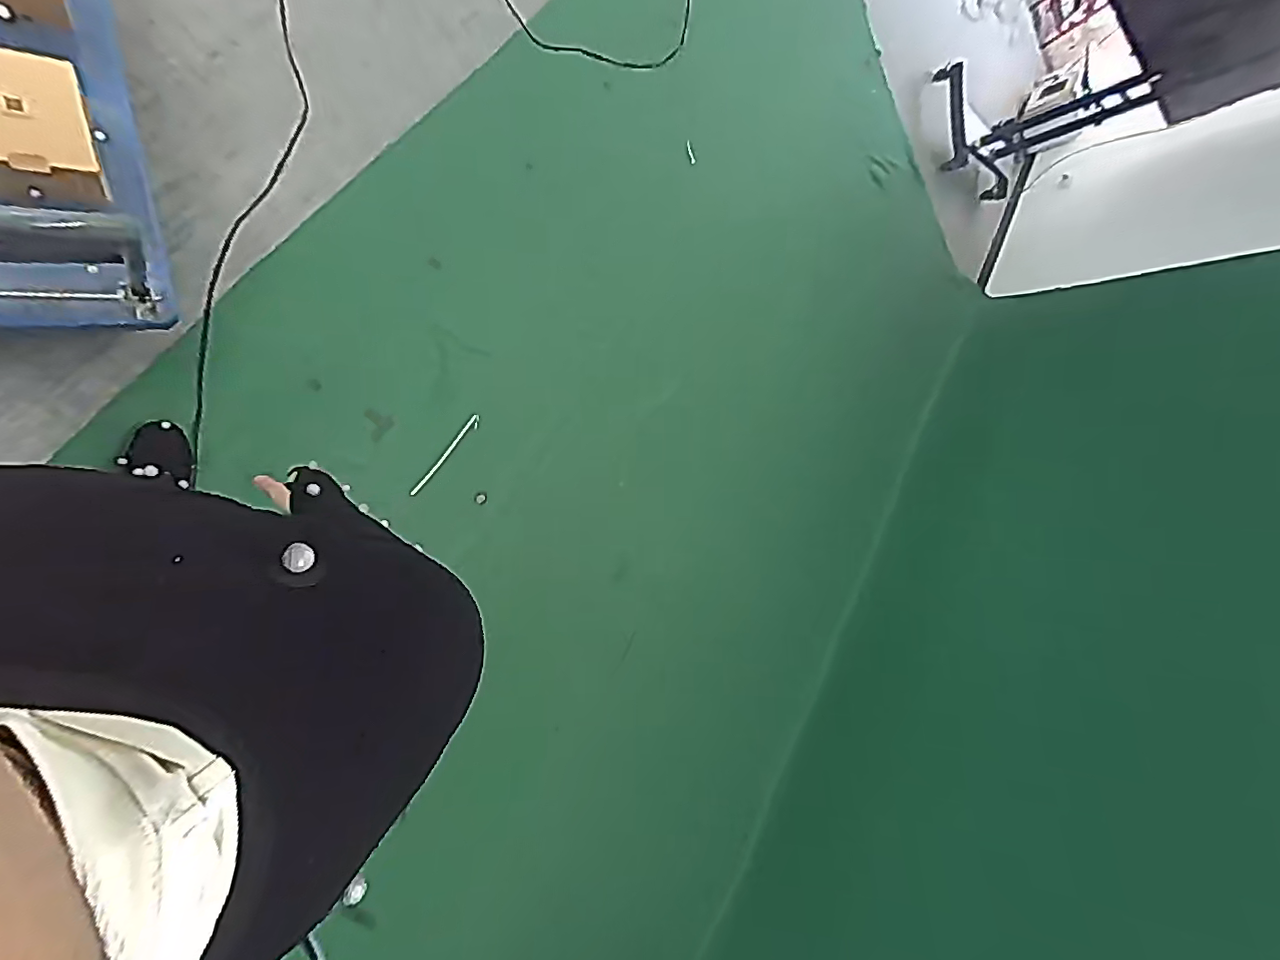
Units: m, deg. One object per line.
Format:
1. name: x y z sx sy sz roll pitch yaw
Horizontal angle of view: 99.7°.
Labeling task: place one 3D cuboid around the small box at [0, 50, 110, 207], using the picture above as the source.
1. small box: -1.046 -0.596 0.924 0.168 0.176 0.179 -14 103 -38

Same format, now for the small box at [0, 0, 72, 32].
1. small box: -1.075 -0.886 0.876 0.168 0.176 0.179 -20 107 -36
